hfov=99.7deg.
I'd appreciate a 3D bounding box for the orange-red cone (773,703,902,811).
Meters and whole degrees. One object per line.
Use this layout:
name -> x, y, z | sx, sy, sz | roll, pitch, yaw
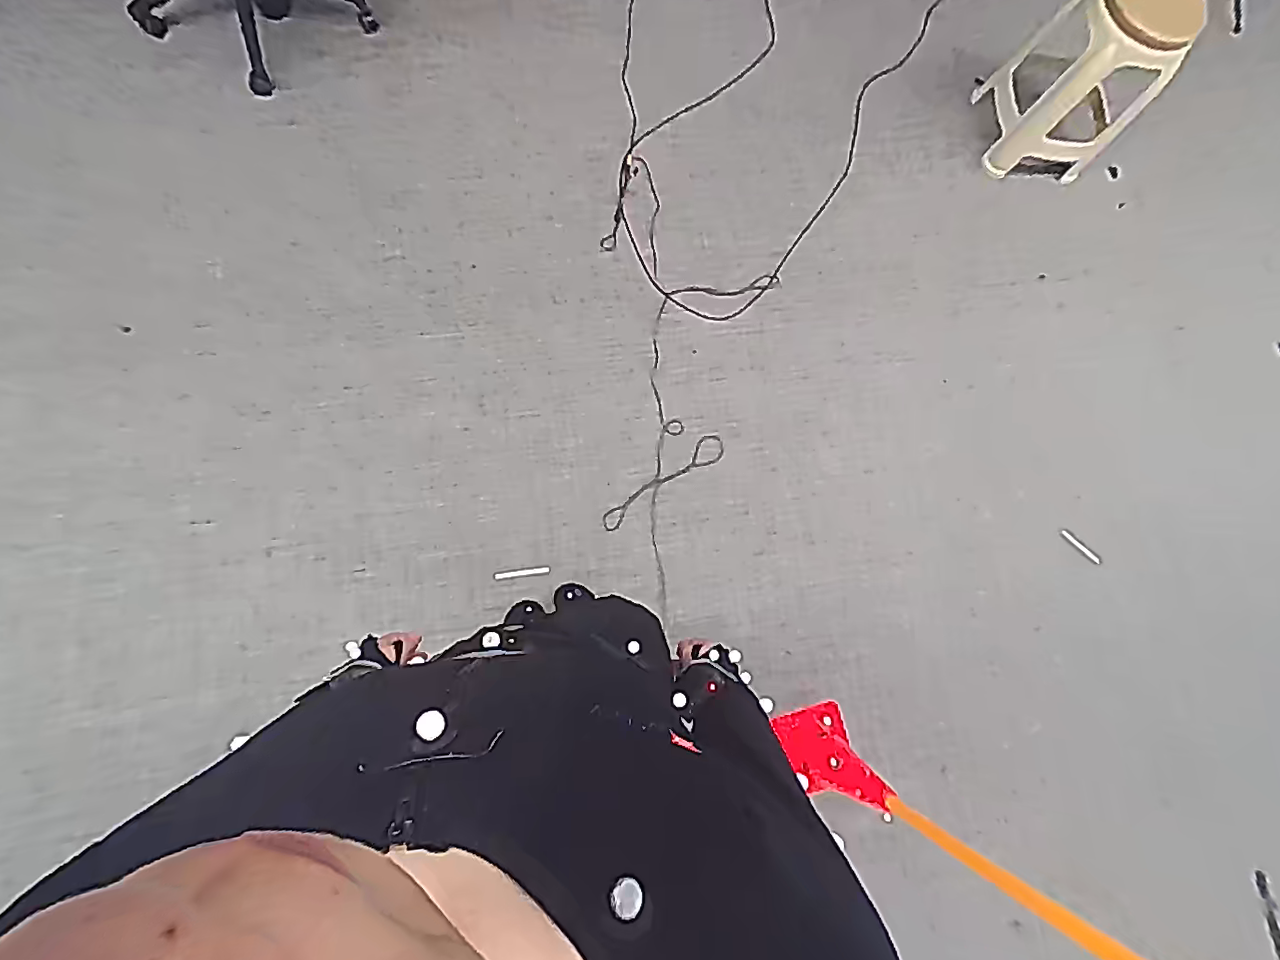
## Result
orange-red cone -> 0.462, 0.645, 1.196 | 0.199, 0.360, 0.198 | -12, 80, -8
